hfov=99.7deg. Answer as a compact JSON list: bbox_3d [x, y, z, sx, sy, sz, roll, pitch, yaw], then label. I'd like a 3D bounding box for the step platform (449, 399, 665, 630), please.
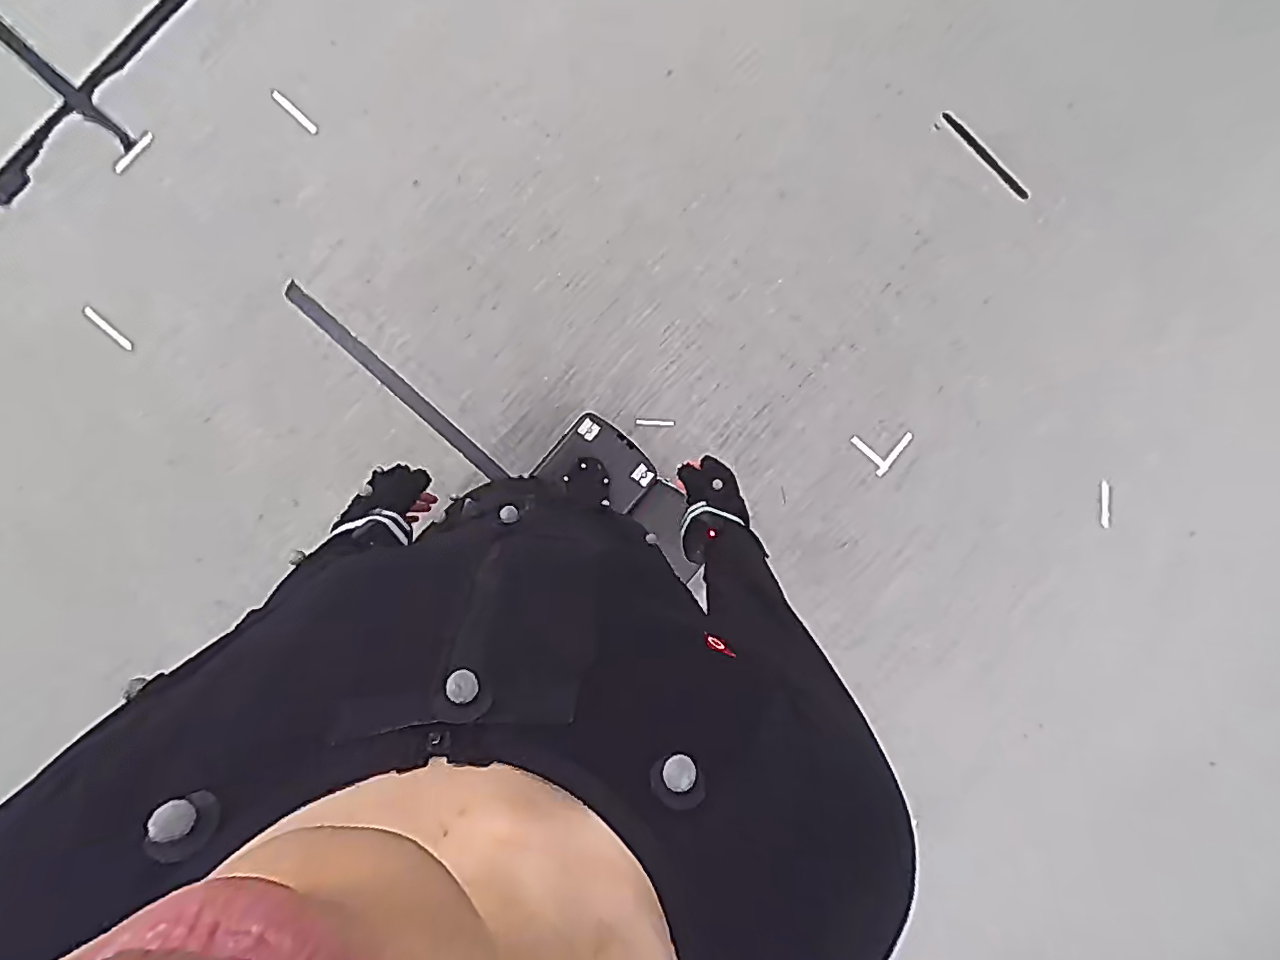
[{"bbox_3d":[-0.234,0.094,1.569,0.286,0.204,0.684,40,87,-6],"label":"step platform"}]
